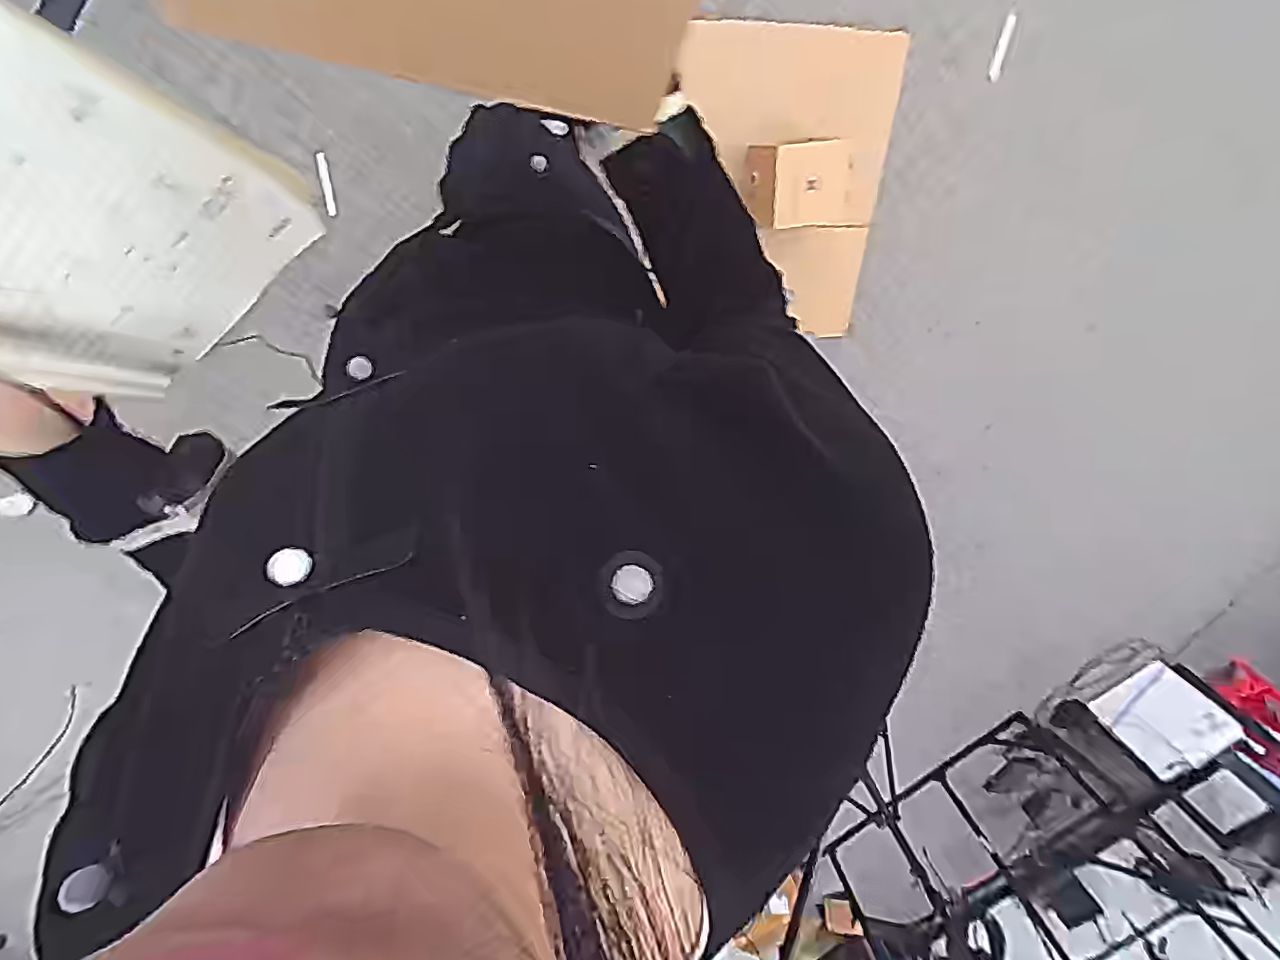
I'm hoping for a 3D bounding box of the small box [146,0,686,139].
[{"bbox_3d":[-0.071,-0.253,0.172,0.168,0.176,0.179,-7,146,-26],"label":"small box"}]

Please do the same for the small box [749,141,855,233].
[{"bbox_3d":[0.368,-0.684,1.257,0.179,0.176,0.168,-10,123,-6],"label":"small box"}]
